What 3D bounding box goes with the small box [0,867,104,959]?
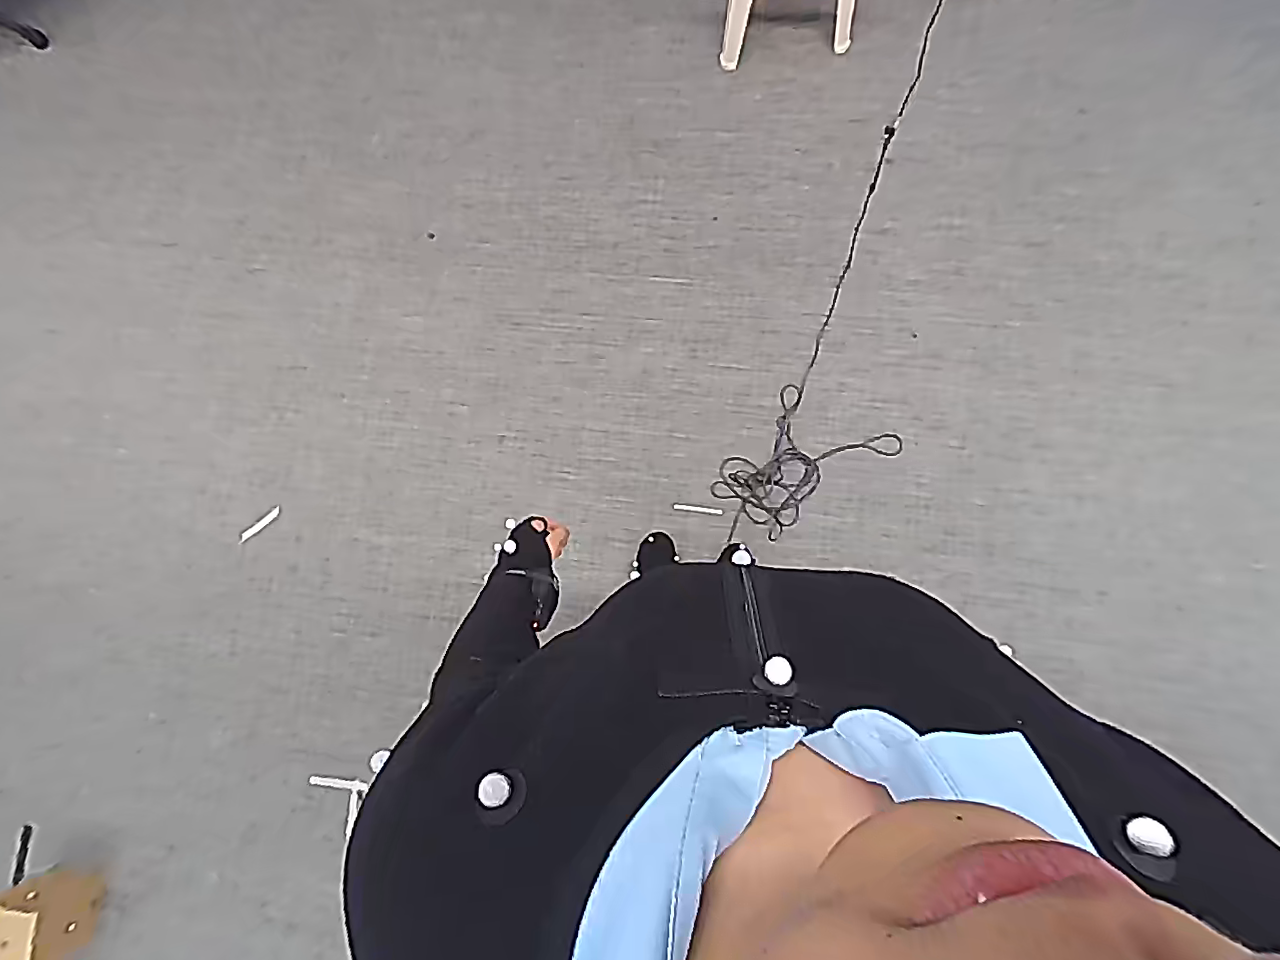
[{"bbox_3d":[-1.633,1.197,1.476,0.179,0.176,0.168,4,84,6],"label":"small box"}]
